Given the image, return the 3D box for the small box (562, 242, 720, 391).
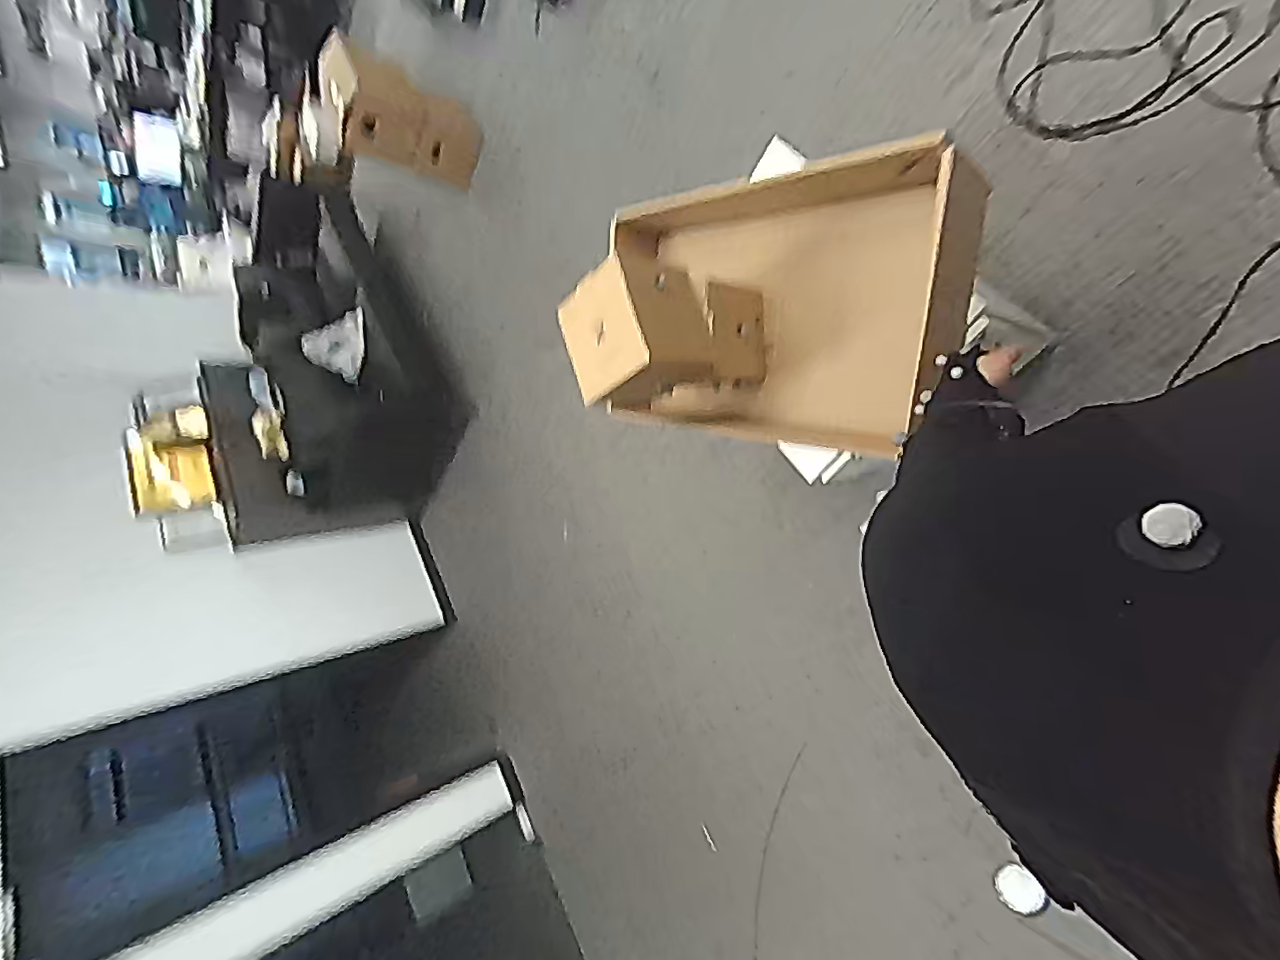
[{"bbox_3d":[0.002,-0.260,0.899,0.168,0.176,0.179,-25,80,46],"label":"small box"}]
